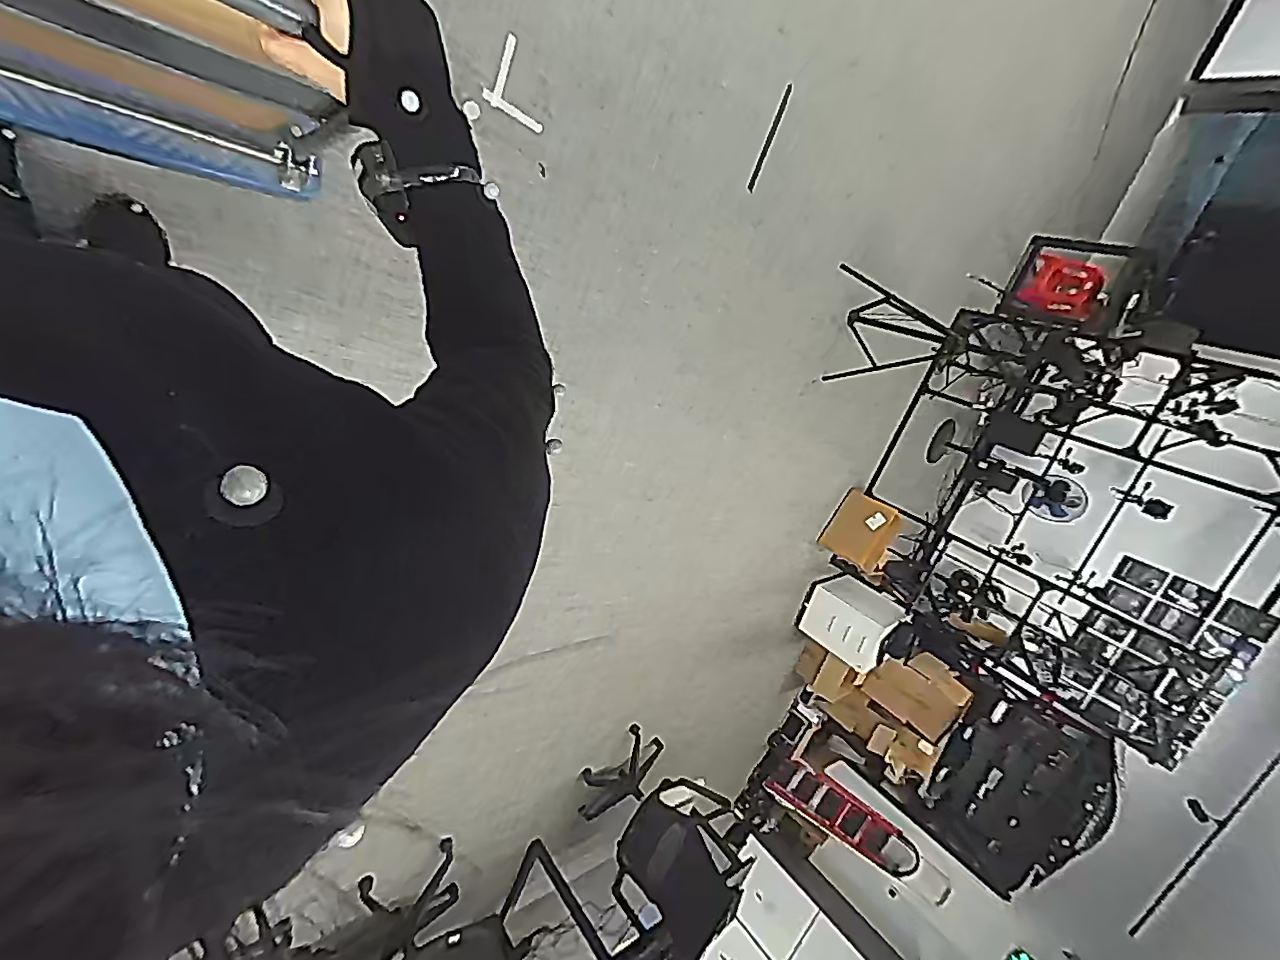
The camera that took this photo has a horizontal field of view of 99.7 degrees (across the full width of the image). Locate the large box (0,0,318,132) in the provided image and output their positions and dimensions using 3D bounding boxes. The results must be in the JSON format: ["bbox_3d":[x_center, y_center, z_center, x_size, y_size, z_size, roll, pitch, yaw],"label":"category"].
[{"bbox_3d":[-0.638,-0.667,0.623,0.408,0.320,0.320,-3,109,-45],"label":"large box"}]
